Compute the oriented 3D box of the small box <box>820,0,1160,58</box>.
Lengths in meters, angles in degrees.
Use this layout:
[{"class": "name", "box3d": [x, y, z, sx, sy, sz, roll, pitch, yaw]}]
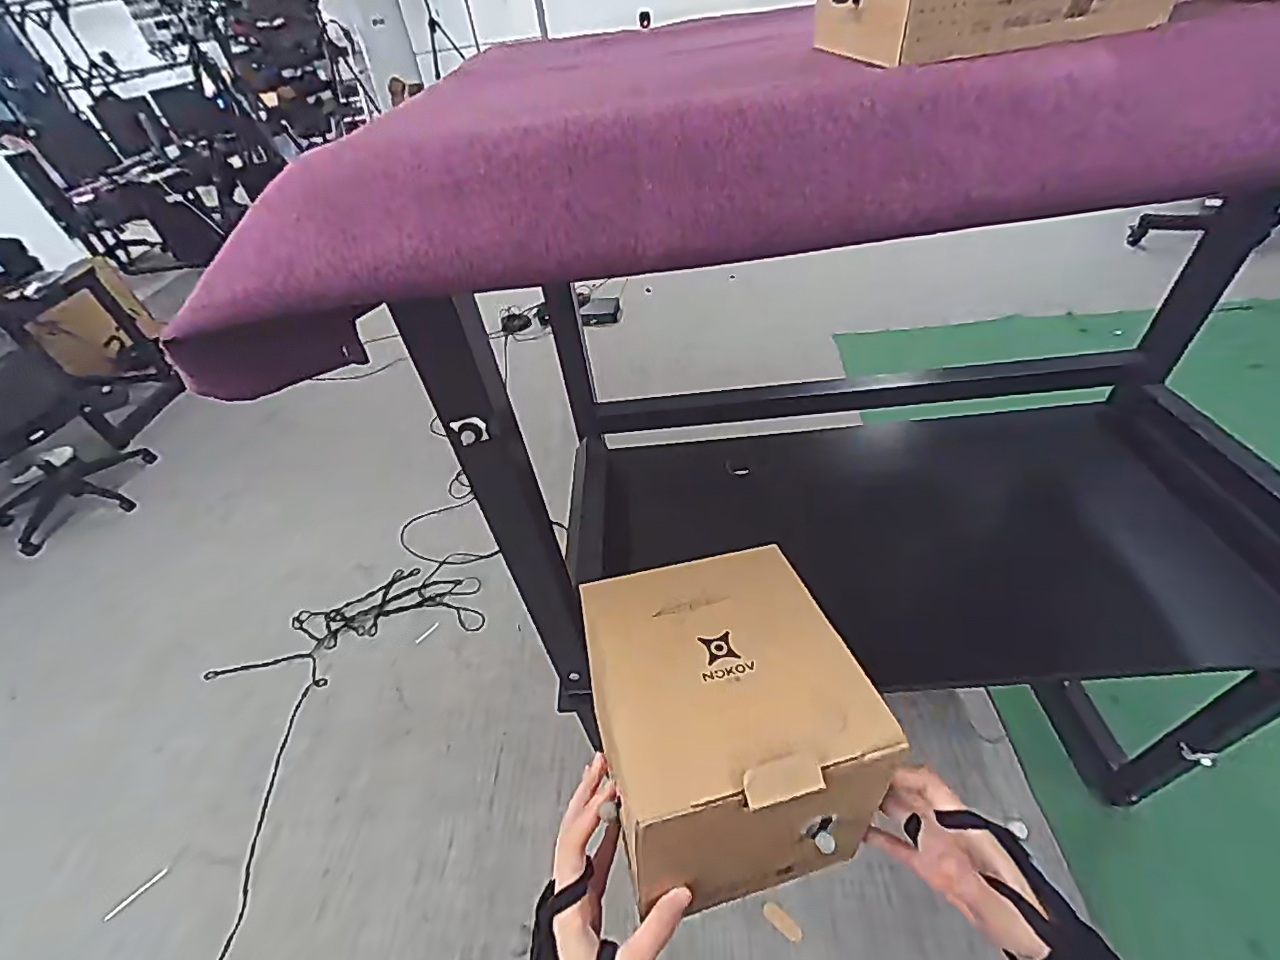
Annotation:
[{"class": "small box", "box3d": [0.226, -0.384, 0.340, 0.168, 0.176, 0.179, -7, 43, 1]}]
